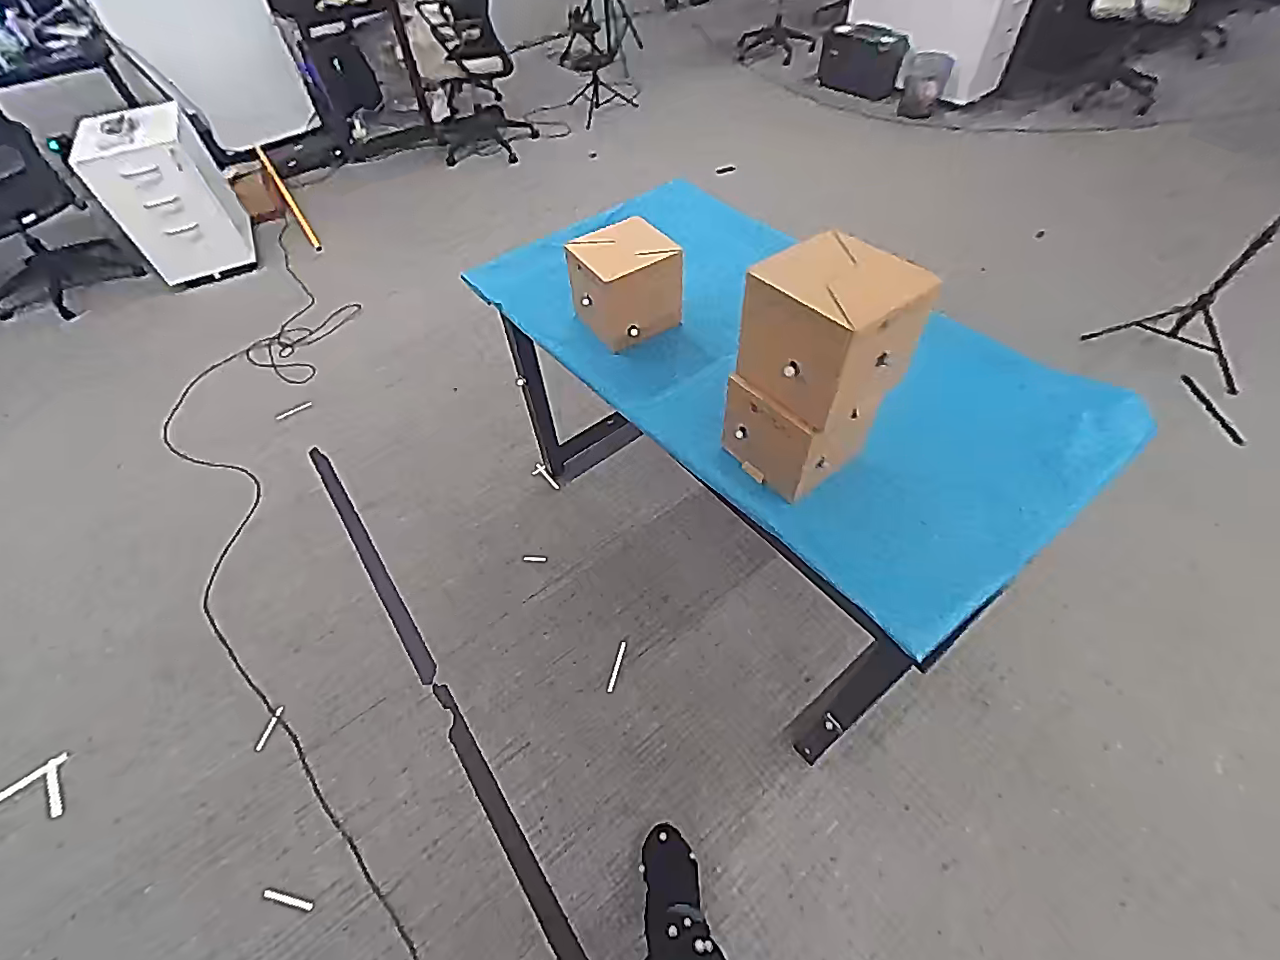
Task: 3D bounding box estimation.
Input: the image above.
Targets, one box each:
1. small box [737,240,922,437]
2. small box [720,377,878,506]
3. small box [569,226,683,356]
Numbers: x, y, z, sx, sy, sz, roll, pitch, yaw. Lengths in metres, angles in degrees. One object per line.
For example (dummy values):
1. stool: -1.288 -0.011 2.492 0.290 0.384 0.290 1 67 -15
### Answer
1. small box: 0.254 -0.197 0.740 0.168 0.176 0.179 -31 54 -22
2. small box: 0.251 -0.098 0.869 0.179 0.176 0.168 -33 58 -22
3. small box: -0.029 -0.392 1.106 0.179 0.176 0.168 -29 57 -18
